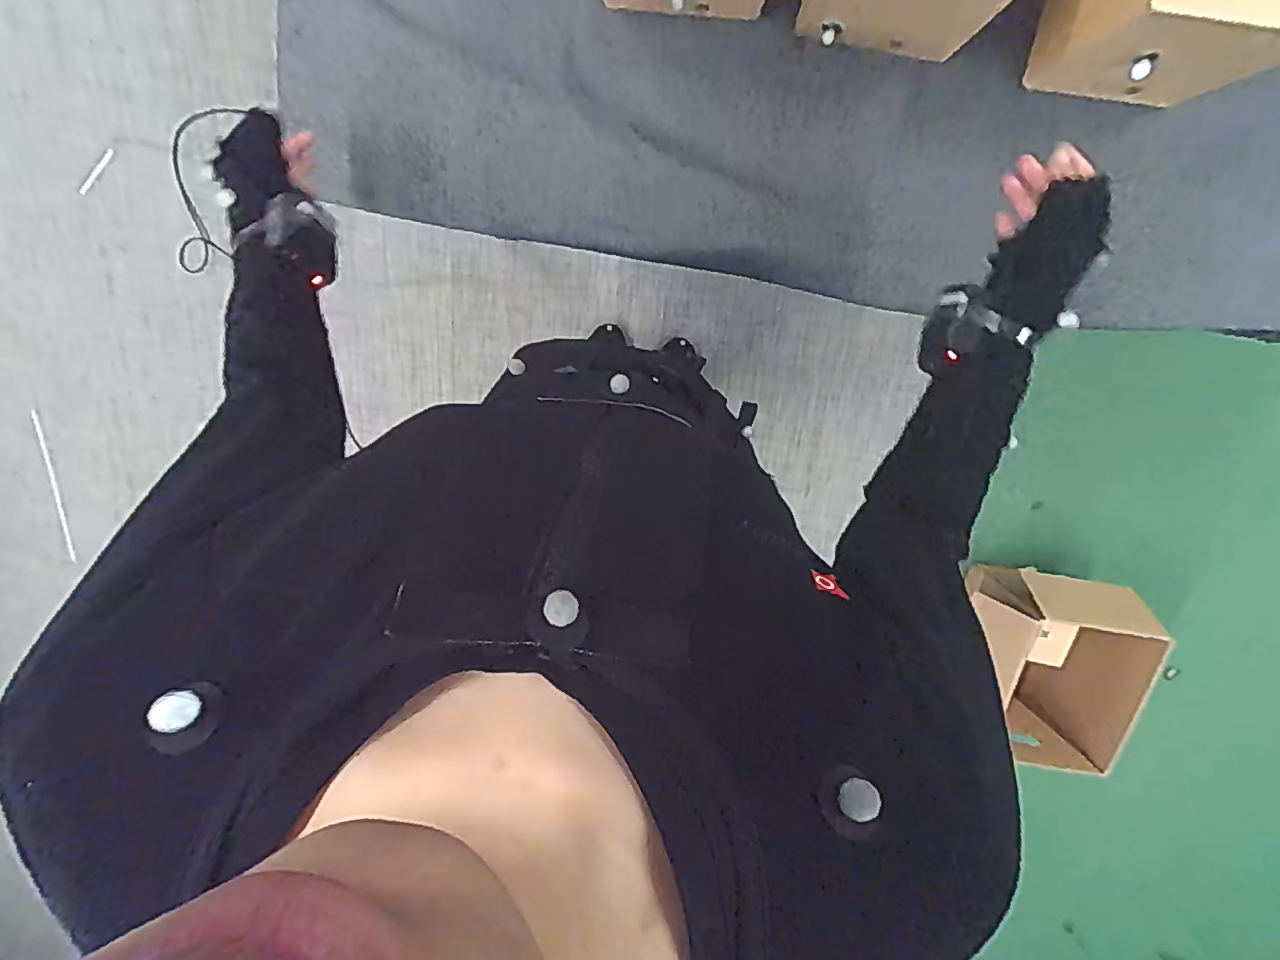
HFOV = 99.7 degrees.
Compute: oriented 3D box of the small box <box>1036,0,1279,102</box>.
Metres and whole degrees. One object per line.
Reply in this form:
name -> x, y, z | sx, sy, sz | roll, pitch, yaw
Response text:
small box -> 0.500, -0.466, 0.476 | 0.168, 0.176, 0.179 | 8, 108, 0
